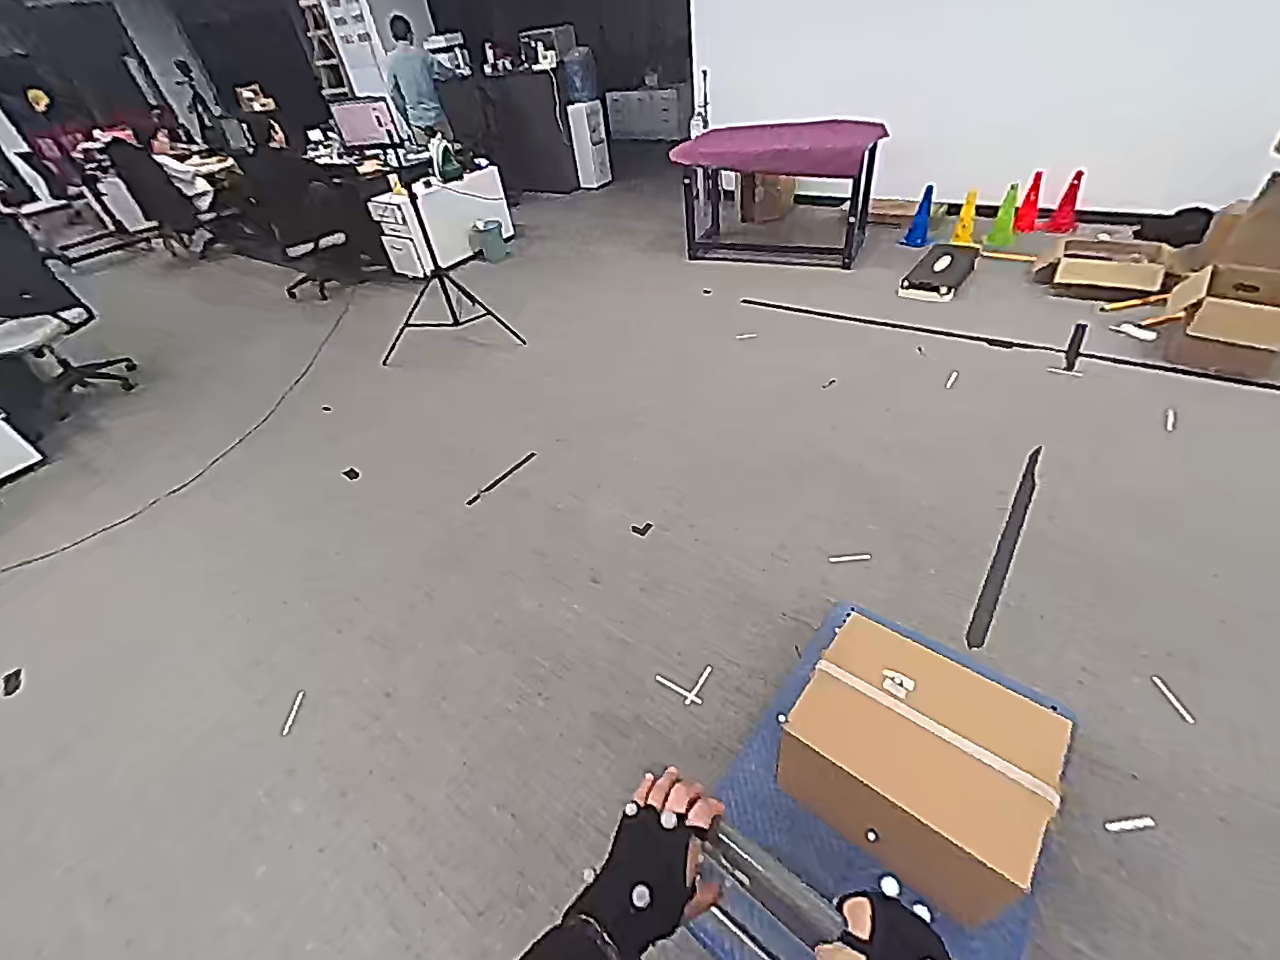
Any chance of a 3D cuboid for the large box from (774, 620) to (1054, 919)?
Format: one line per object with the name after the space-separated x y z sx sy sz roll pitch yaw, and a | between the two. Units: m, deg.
0.526 0.567 1.098 0.408 0.320 0.320 24 50 33 | large box
